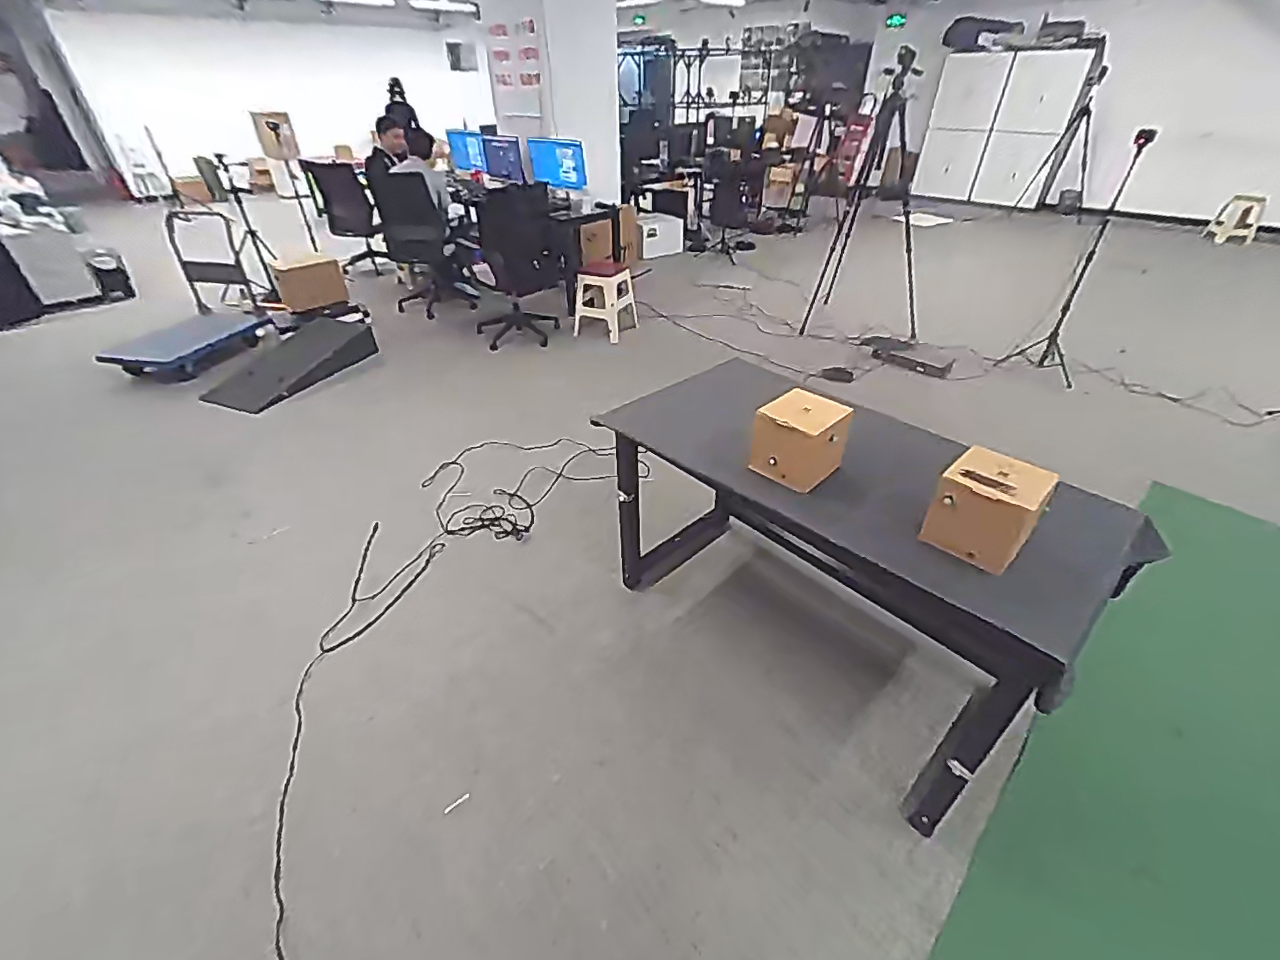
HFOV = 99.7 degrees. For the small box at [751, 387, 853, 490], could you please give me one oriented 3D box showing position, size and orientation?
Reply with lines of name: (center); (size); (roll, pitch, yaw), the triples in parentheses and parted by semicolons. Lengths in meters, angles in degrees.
small box: (0.394, -0.105, 1.341); (0.179, 0.176, 0.168); (-30, 46, -34)
